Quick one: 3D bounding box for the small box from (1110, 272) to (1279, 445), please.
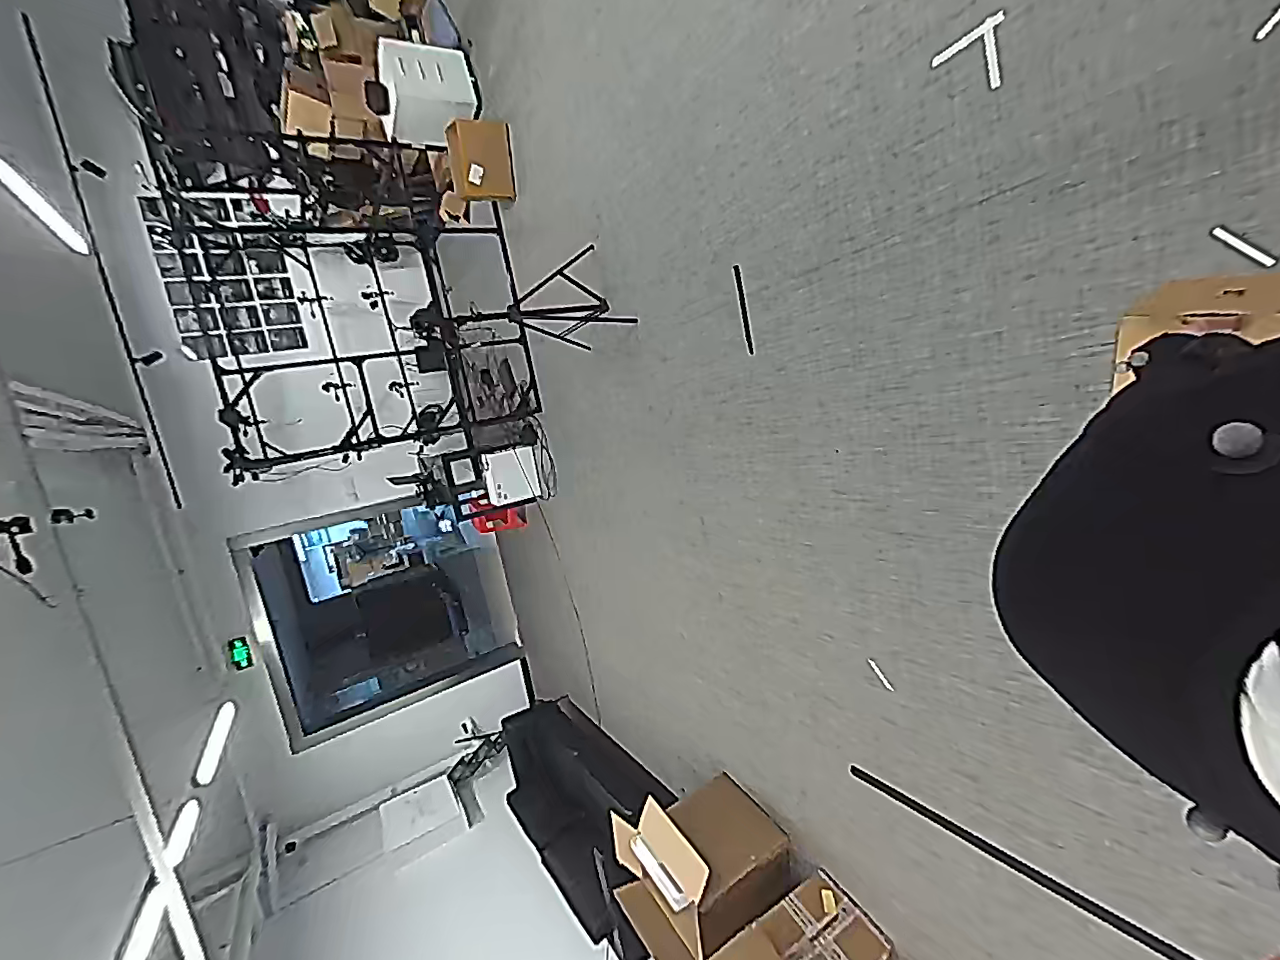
[{"bbox_3d":[0.746,-0.159,0.702,0.168,0.179,0.176,22,133,53],"label":"small box"}]
